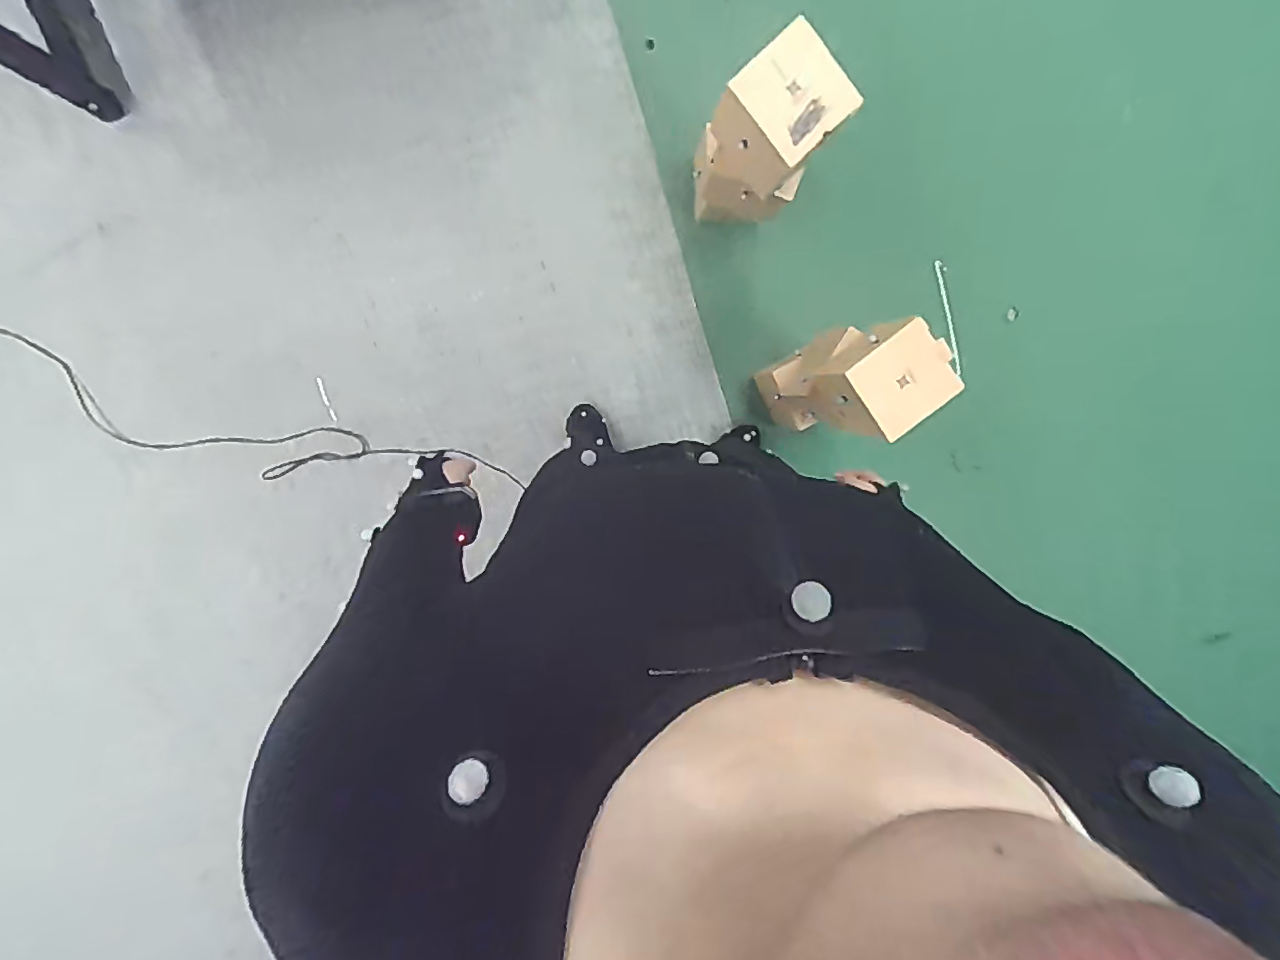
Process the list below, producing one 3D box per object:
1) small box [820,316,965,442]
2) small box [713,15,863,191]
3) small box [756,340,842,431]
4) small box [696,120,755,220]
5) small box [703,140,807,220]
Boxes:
[{"bbox_3d":[0.482,-0.194,1.068,0.179,0.176,0.168,-38,100,2],"label":"small box"},{"bbox_3d":[0.256,-0.657,0.977,0.168,0.176,0.179,-41,99,4],"label":"small box"},{"bbox_3d":[0.425,-0.242,1.389,0.179,0.176,0.168,-28,101,0],"label":"small box"},{"bbox_3d":[0.232,-0.733,1.295,0.179,0.176,0.168,-2,100,-4],"label":"small box"},{"bbox_3d":[0.247,-0.675,1.141,0.179,0.176,0.168,18,99,-7],"label":"small box"}]
